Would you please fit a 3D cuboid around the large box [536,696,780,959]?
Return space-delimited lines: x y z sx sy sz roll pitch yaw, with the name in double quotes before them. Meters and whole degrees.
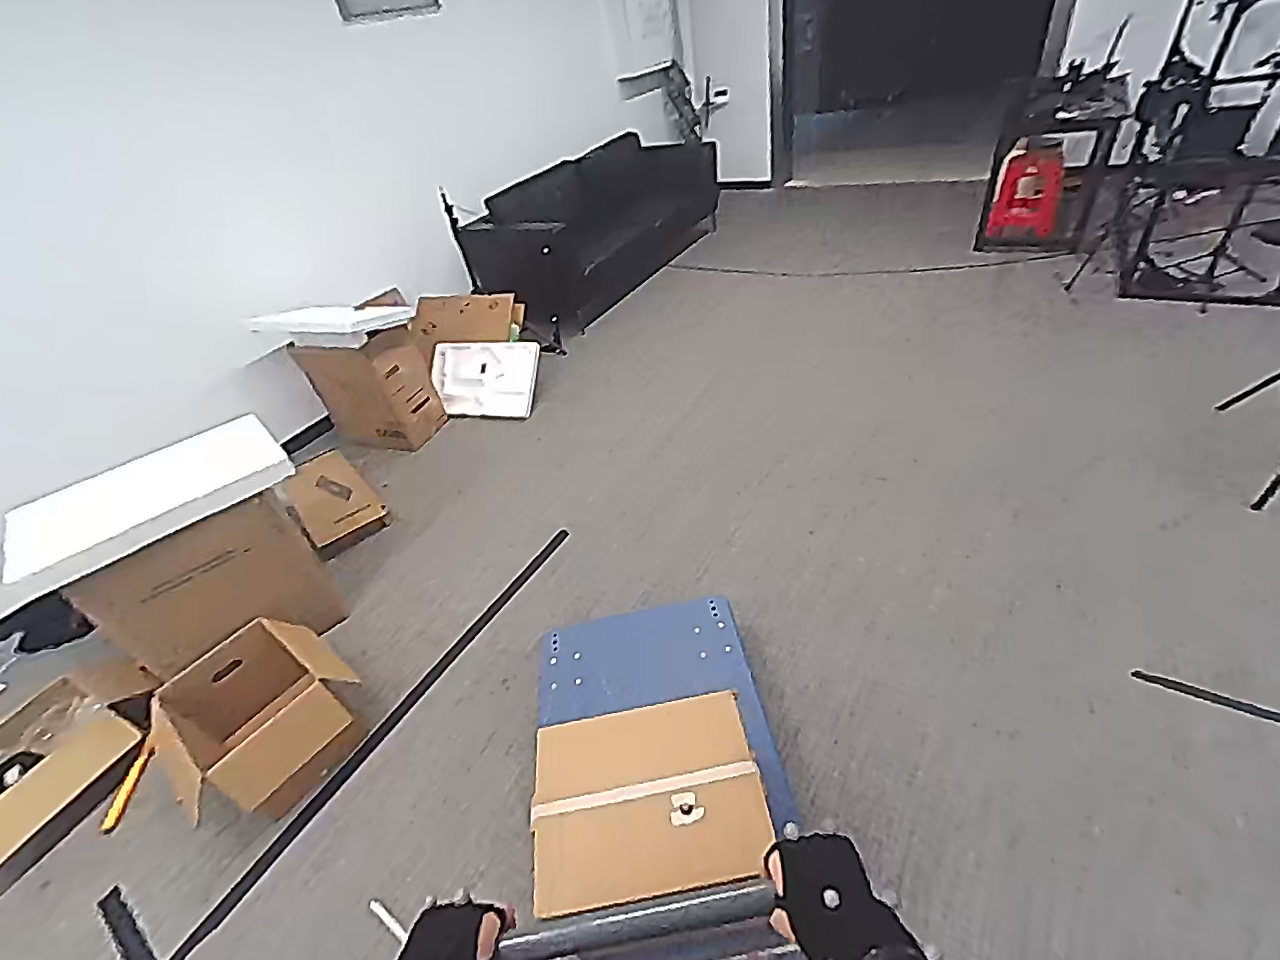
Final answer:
"large box" 0.028 0.680 1.055 0.408 0.320 0.320 -11 39 -1
